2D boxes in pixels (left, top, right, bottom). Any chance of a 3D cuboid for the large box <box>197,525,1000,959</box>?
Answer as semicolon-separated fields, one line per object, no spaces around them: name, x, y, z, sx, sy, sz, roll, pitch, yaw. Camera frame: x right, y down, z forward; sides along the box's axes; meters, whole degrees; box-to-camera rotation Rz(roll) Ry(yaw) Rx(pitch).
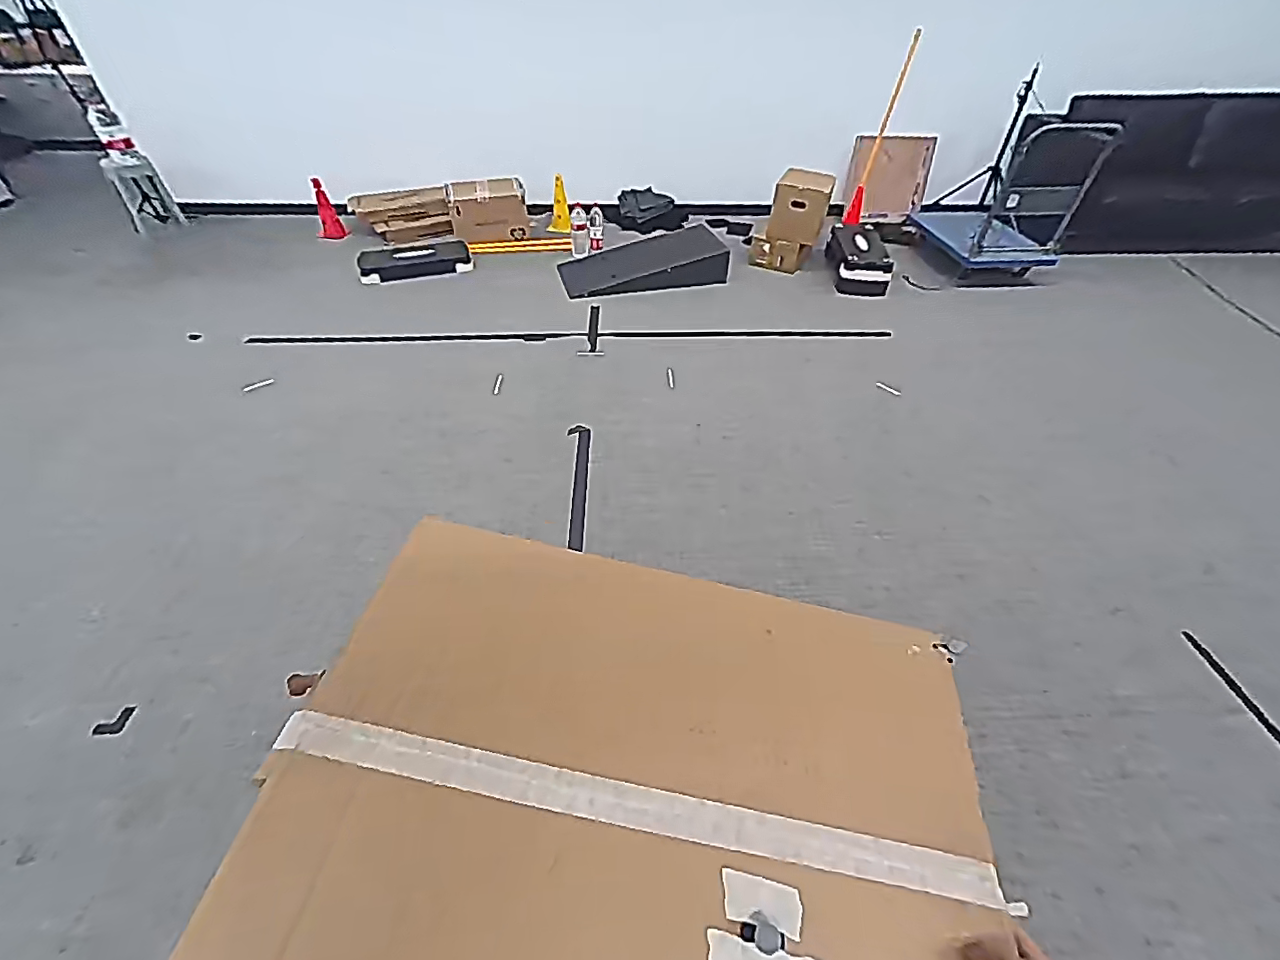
large box;-0.017;0.283;0.428;0.408;0.320;0.320;14;49;0
